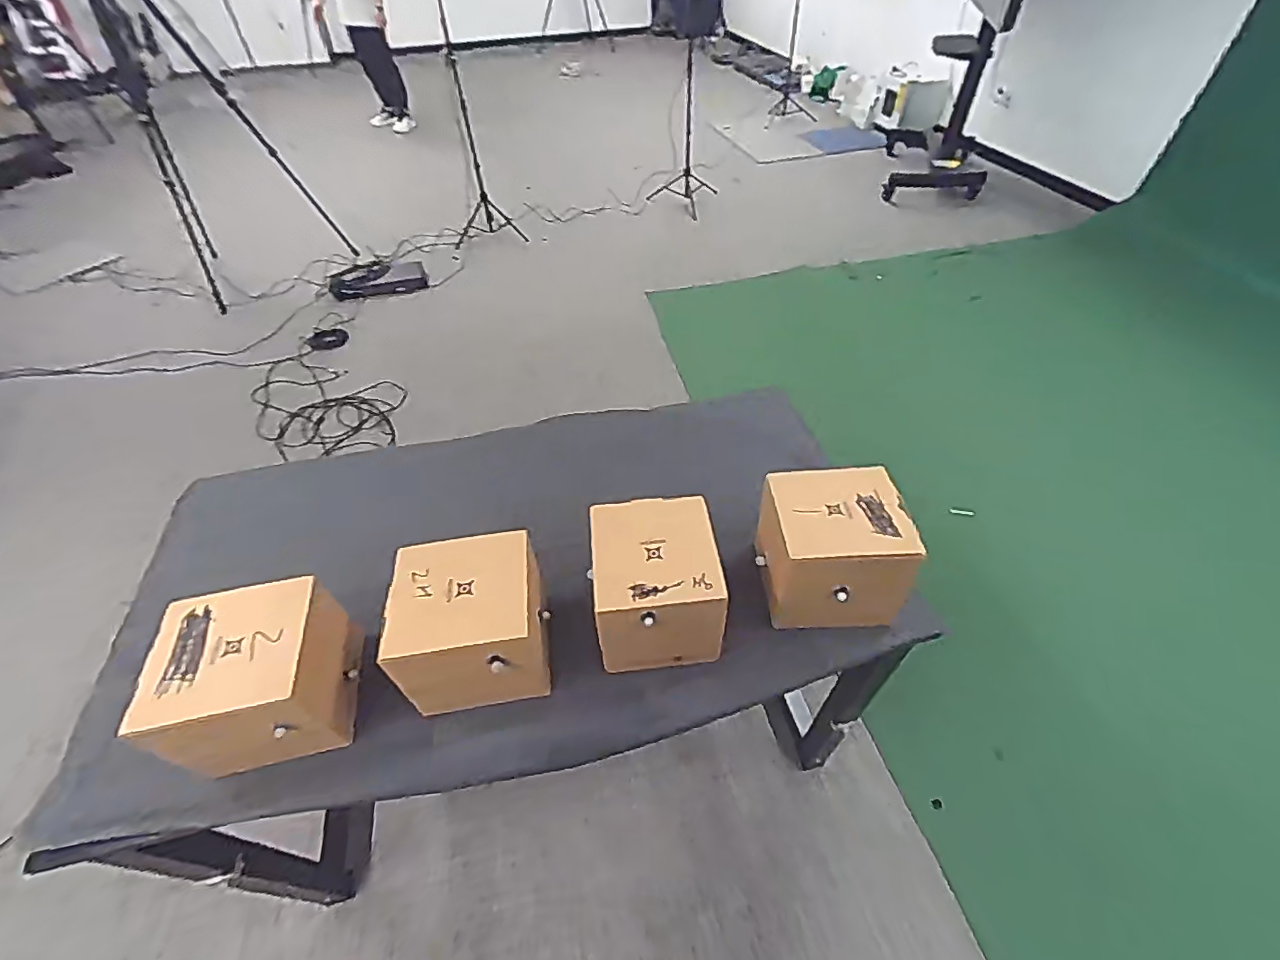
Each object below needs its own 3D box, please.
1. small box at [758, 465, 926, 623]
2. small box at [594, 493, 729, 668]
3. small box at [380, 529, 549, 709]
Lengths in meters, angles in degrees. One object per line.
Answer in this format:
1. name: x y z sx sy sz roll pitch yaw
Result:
1. small box: 0.279 0.095 0.793 0.179 0.176 0.168 -3 44 2
2. small box: 0.023 0.143 0.769 0.168 0.176 0.179 -5 46 -2
3. small box: -0.221 0.191 0.738 0.179 0.176 0.168 -9 46 -3
